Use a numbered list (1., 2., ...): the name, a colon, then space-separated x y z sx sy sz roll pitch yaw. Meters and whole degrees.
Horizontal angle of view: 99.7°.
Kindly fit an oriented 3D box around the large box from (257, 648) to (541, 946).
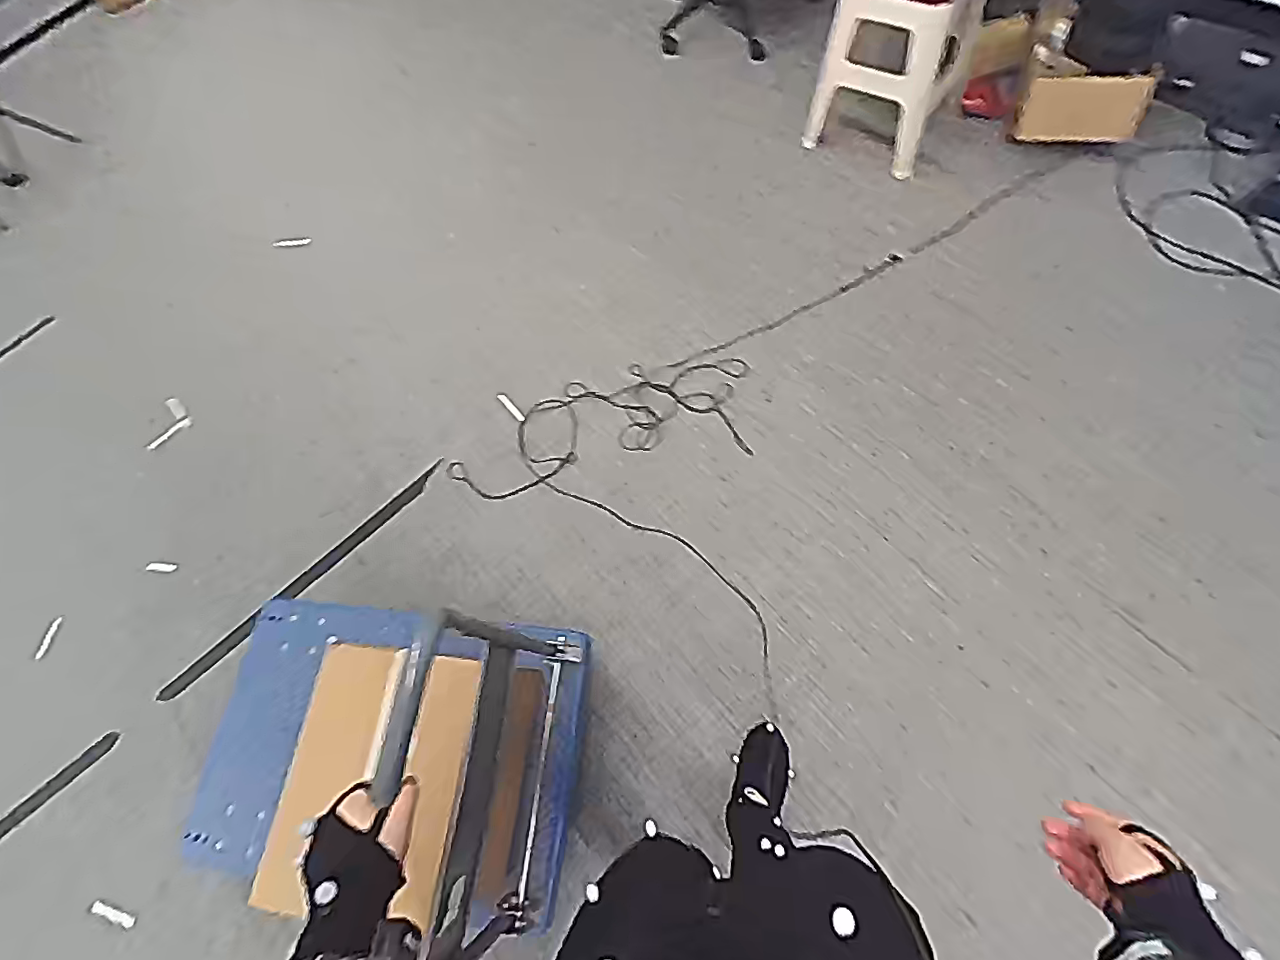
1. large box: -0.412 0.556 1.029 0.320 0.320 0.408 4 68 11
